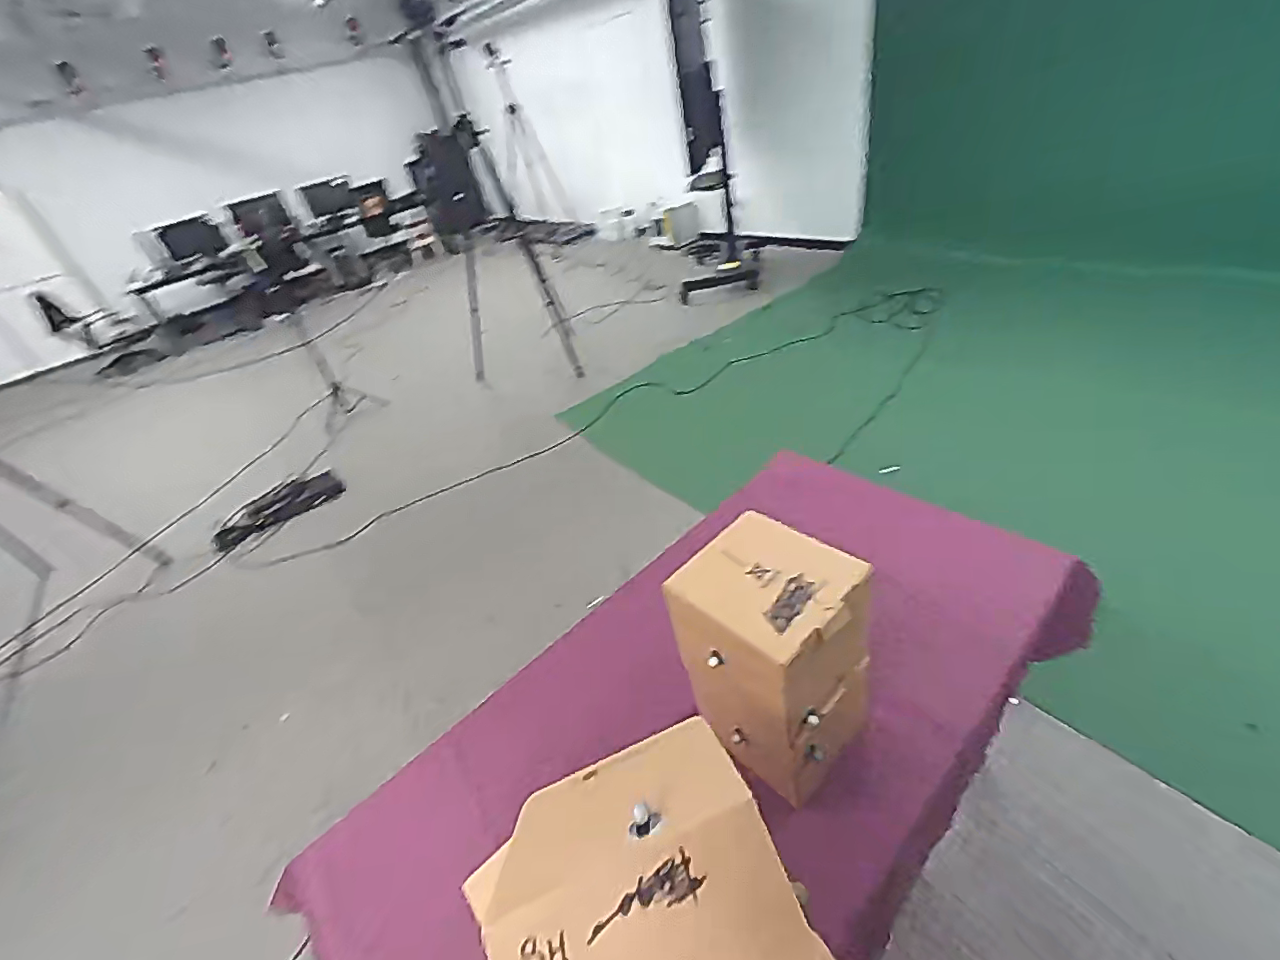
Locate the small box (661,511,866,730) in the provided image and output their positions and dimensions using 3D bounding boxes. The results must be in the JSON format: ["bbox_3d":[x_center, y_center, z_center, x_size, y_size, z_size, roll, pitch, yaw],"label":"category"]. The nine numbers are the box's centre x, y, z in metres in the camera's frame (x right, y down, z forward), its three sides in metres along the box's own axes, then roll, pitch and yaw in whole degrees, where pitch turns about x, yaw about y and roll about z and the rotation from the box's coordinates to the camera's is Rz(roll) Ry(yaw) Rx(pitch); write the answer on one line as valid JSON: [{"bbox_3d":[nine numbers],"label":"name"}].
[{"bbox_3d":[0.155,0.173,0.668,0.168,0.176,0.179,-36,40,-27],"label":"small box"}]

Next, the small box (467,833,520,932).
[{"bbox_3d":[-0.057,0.486,0.602,0.168,0.176,0.179,-36,41,-26],"label":"small box"}]

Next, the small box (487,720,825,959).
[{"bbox_3d":[0.020,0.298,0.366,0.168,0.179,0.176,-23,-6,-7],"label":"small box"}]
